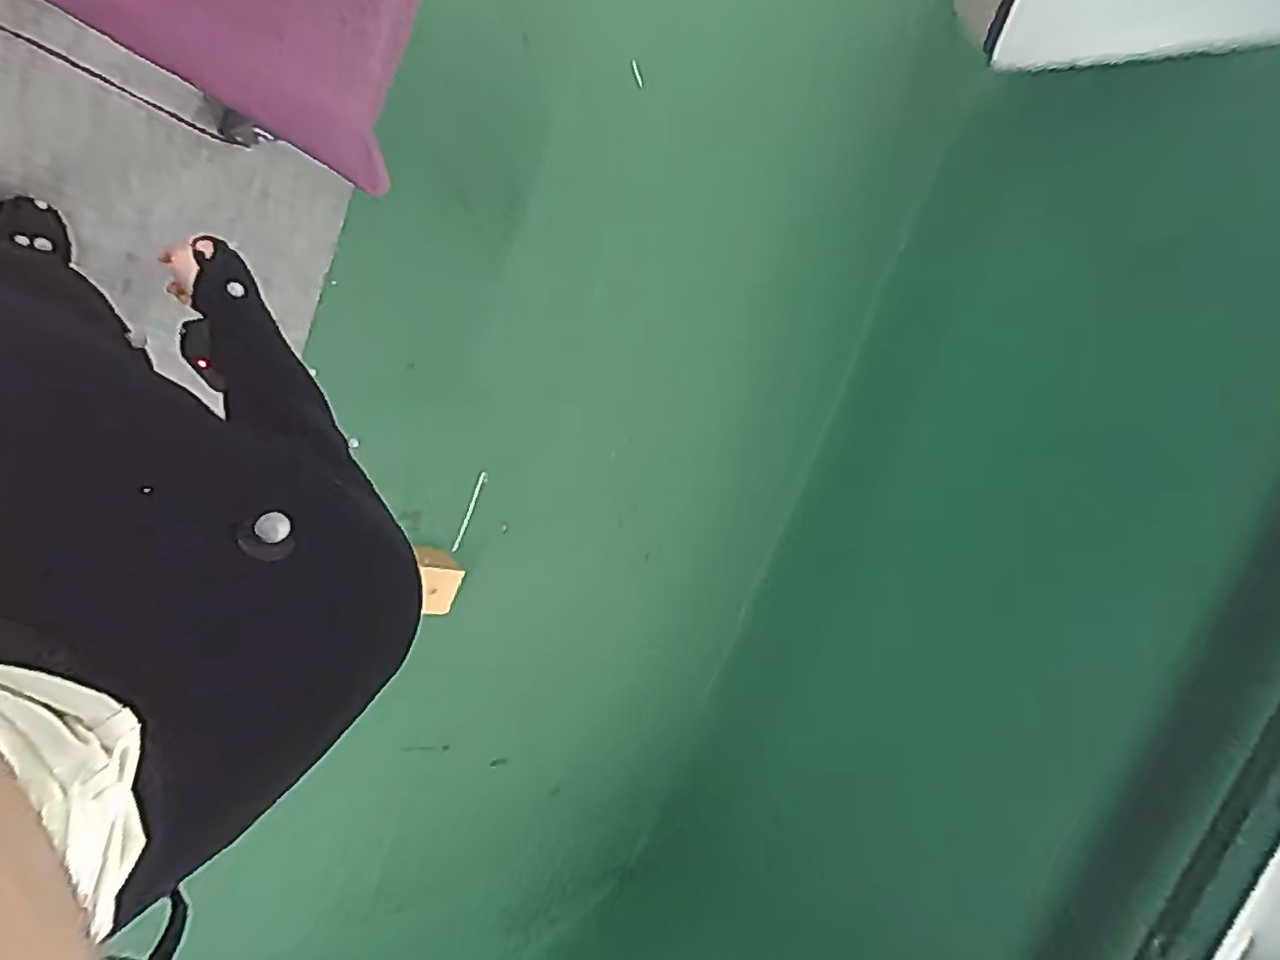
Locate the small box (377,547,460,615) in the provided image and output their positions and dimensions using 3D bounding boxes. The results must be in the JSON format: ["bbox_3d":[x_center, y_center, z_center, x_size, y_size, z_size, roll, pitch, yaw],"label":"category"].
[{"bbox_3d":[-0.749,0.339,1.826,0.179,0.176,0.168,20,96,-50],"label":"small box"}]
